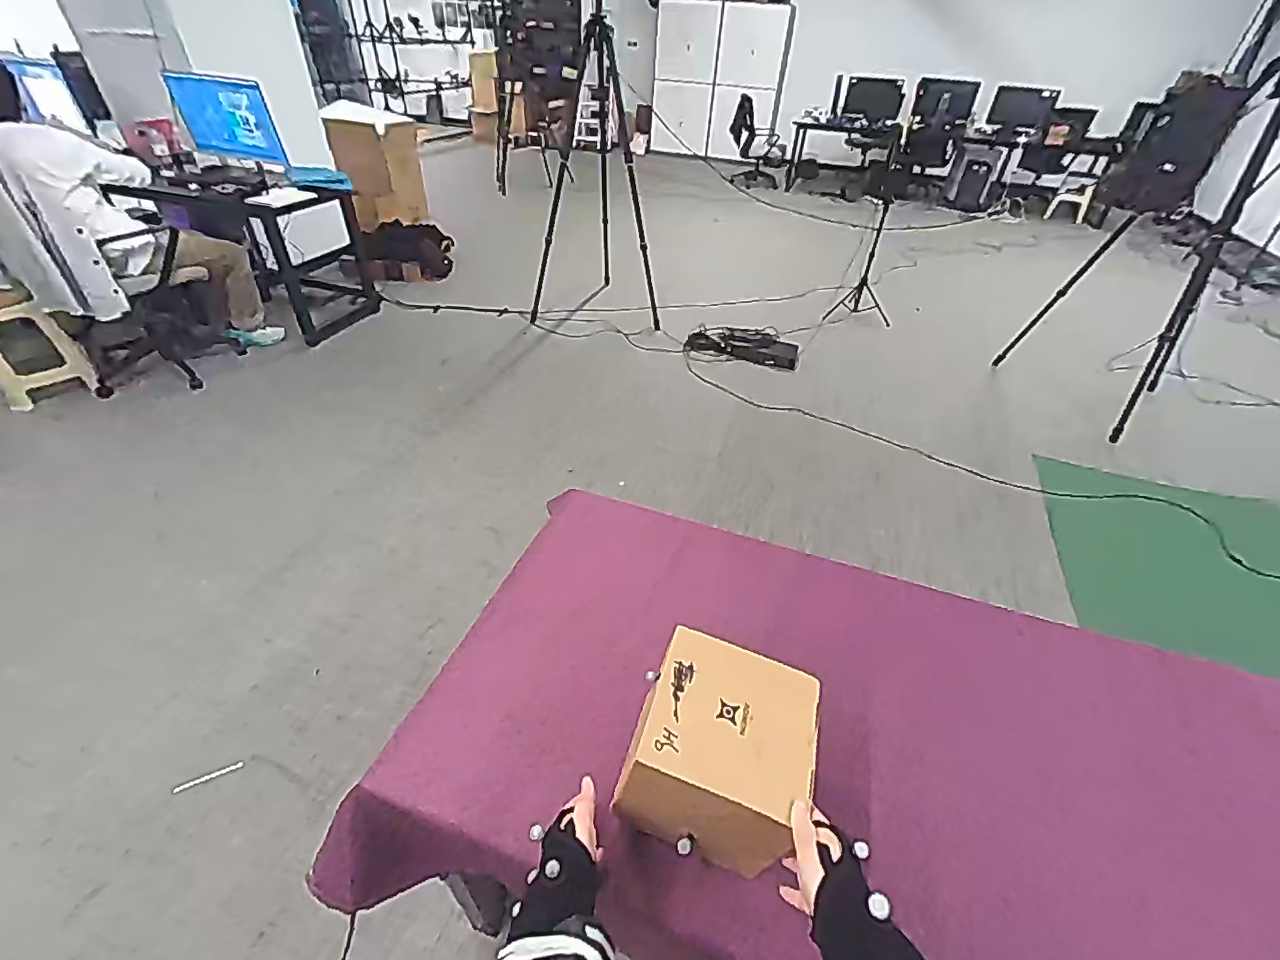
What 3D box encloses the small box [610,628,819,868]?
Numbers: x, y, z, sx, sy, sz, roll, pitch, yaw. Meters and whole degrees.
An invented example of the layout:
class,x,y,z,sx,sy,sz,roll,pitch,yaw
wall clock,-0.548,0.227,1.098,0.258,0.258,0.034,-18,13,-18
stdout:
class,x,y,z,sx,sy,sz,roll,pitch,yaw
small box,0.083,0.309,0.619,0.179,0.176,0.168,21,40,6
